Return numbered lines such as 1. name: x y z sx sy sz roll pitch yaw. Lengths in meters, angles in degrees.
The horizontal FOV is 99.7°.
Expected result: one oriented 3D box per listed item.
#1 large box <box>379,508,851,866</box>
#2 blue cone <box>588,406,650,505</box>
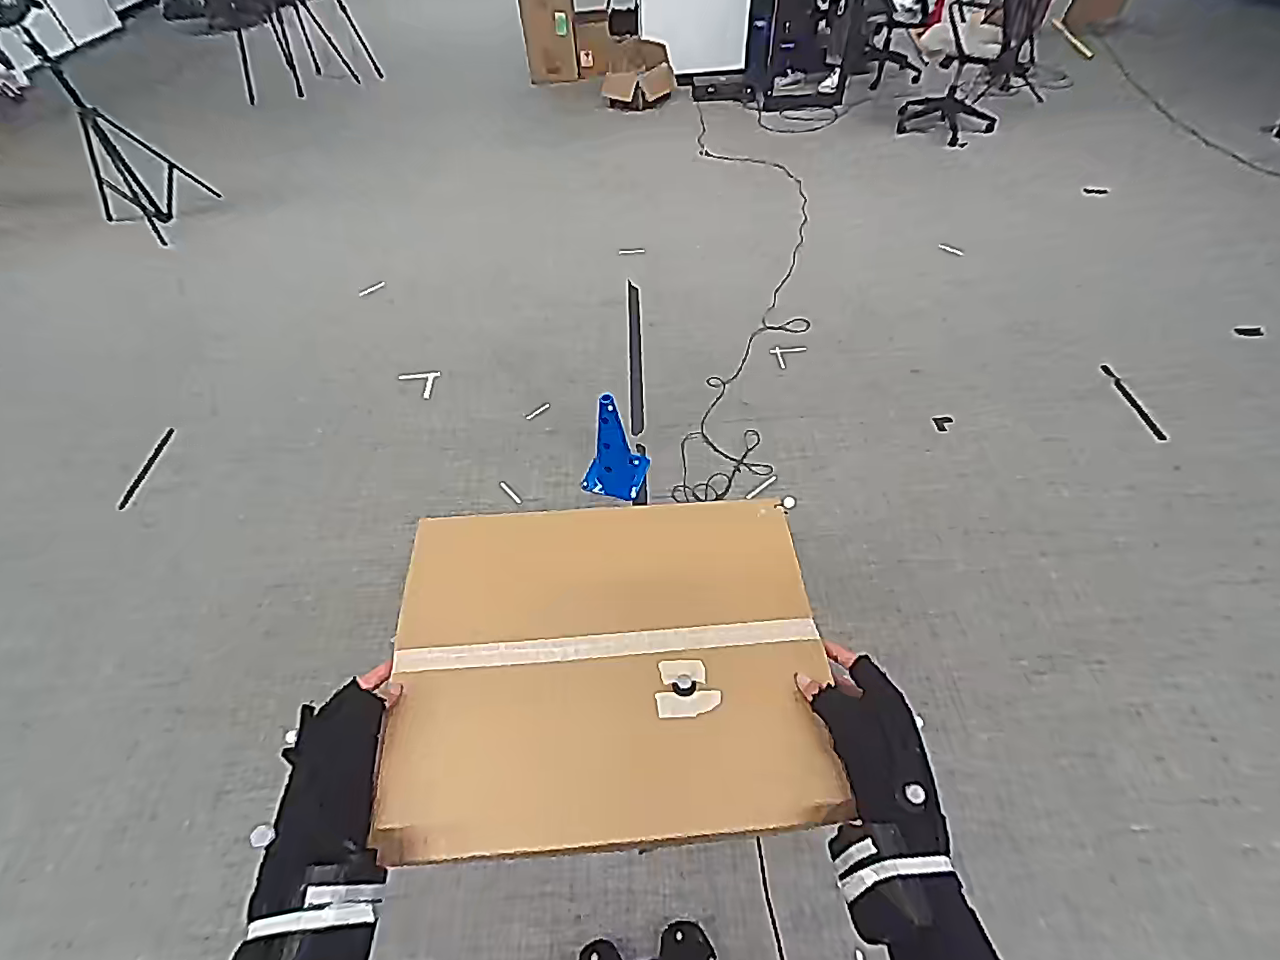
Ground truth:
1. large box: -0.031 0.256 0.653 0.408 0.320 0.320 -3 55 -3
2. blue cone: -0.081 -0.104 1.782 0.193 0.380 0.192 14 54 15
